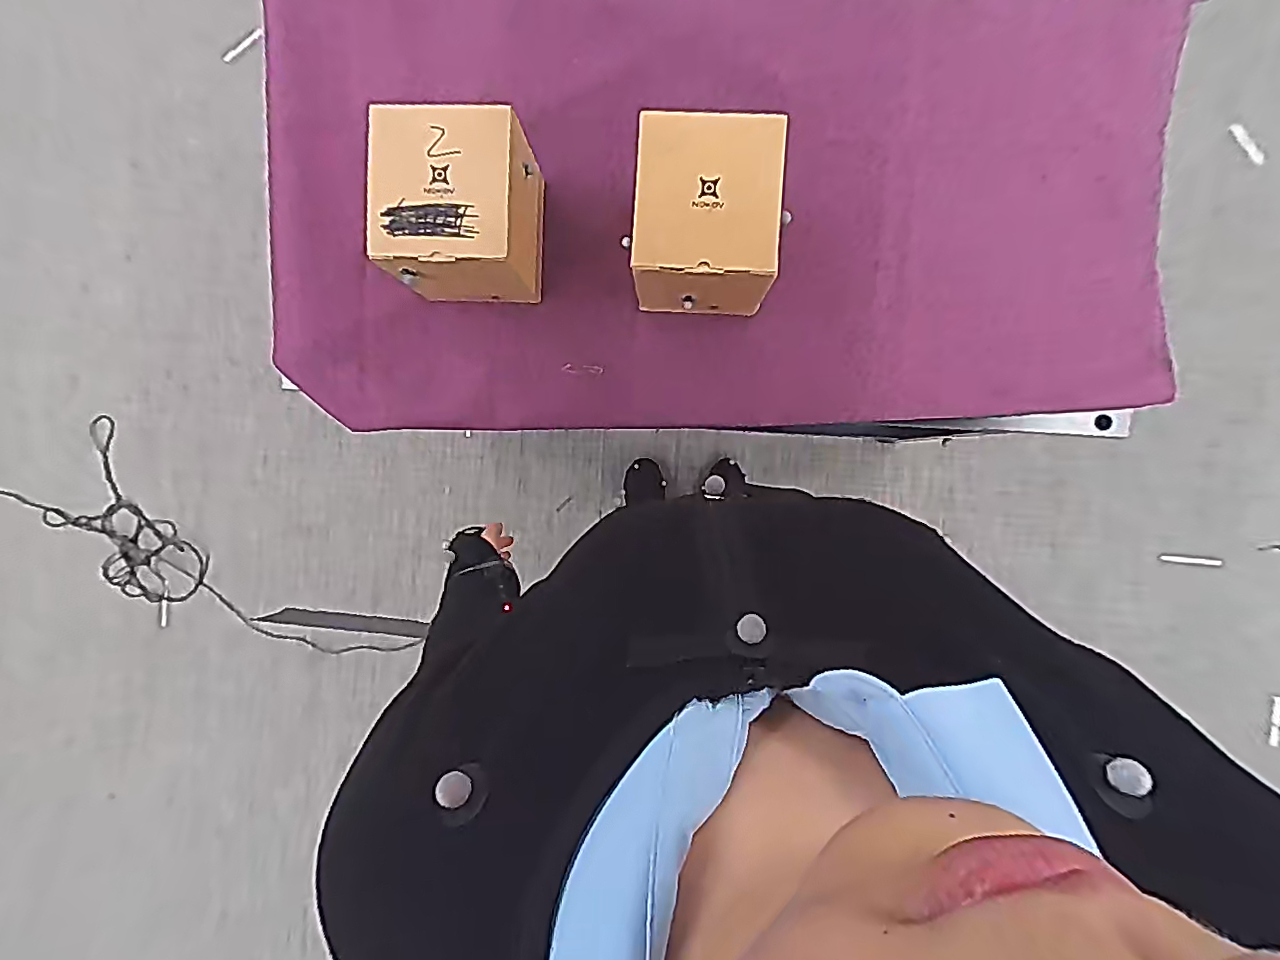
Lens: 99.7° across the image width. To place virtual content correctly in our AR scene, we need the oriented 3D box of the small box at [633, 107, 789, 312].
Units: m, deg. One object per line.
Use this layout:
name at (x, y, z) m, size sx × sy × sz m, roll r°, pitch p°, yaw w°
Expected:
small box at (0.081, -0.326, 0.680) m, size 0.168 × 0.176 × 0.179 m, roll 3°, pitch 93°, yaw 3°
